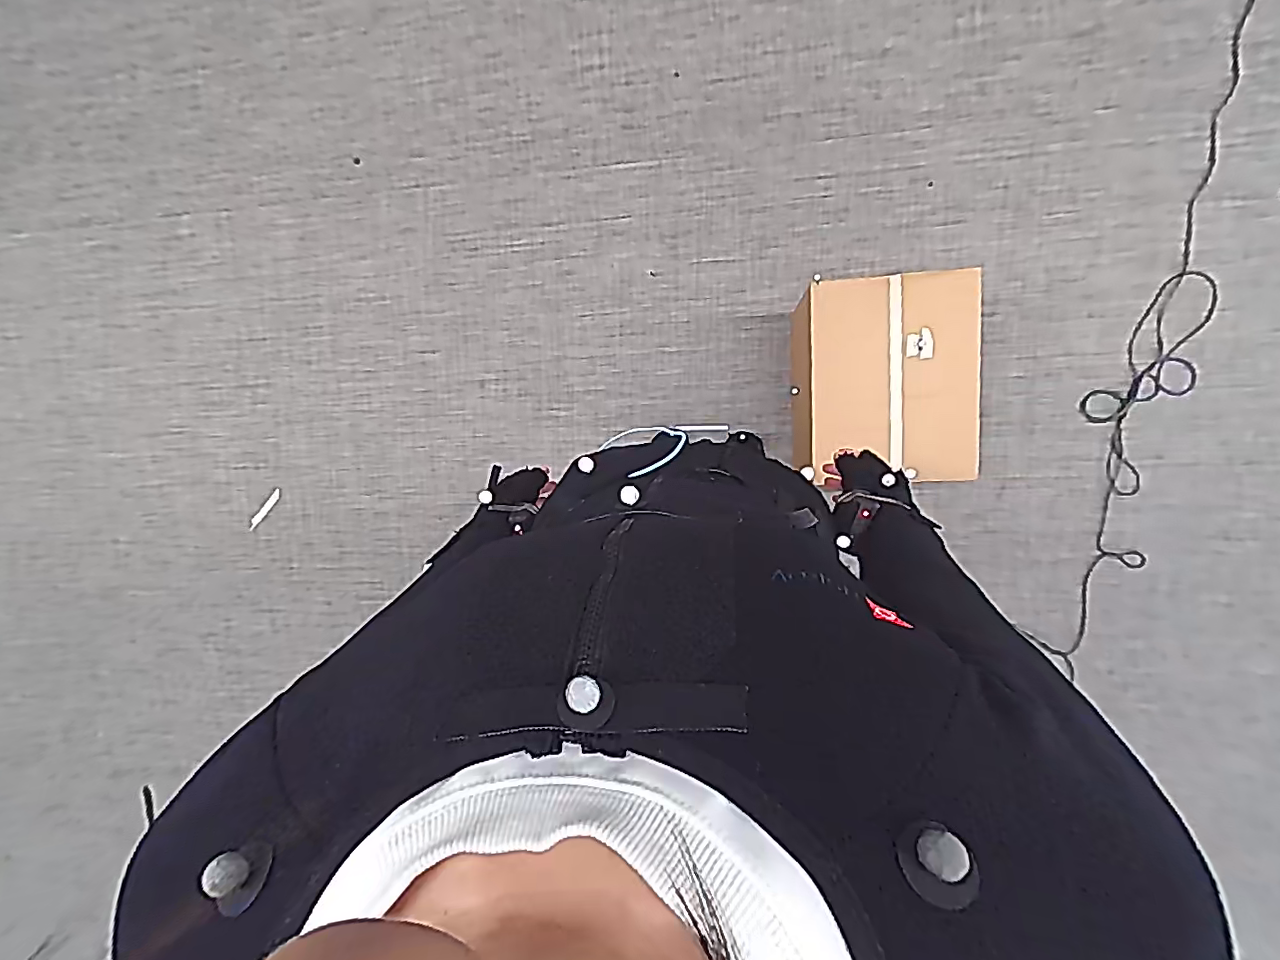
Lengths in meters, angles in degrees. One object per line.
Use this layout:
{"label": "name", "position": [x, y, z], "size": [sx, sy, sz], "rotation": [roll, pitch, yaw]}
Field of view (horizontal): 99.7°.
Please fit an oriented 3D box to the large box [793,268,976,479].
{"label": "large box", "position": [0.523, -0.216, 1.222], "size": [0.320, 0.320, 0.408], "rotation": [-2, 94, 8]}
